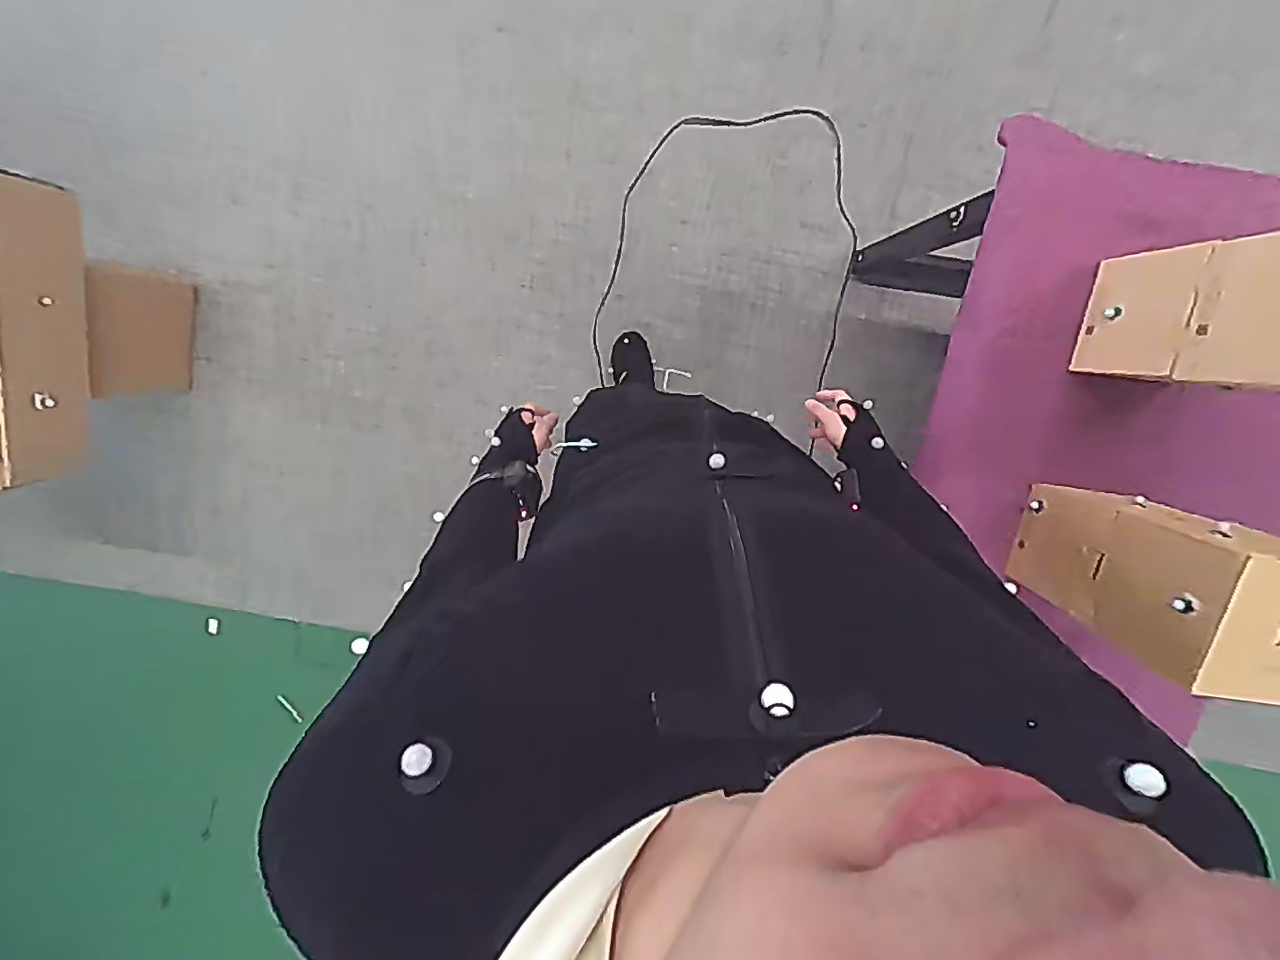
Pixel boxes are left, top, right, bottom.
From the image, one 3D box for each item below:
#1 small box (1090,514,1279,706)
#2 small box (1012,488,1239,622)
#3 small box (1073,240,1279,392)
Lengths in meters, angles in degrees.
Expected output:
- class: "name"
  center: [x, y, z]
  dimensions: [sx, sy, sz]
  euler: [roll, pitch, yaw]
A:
- class: "small box"
  center: [0.717, 0.152, 0.670]
  dimensions: [0.168, 0.176, 0.179]
  euler: [8, 104, -1]
- class: "small box"
  center: [0.722, 0.115, 0.829]
  dimensions: [0.179, 0.176, 0.168]
  euler: [7, 103, -2]
- class: "small box"
  center: [0.765, -0.219, 0.747]
  dimensions: [0.179, 0.176, 0.168]
  euler: [7, 103, -1]
